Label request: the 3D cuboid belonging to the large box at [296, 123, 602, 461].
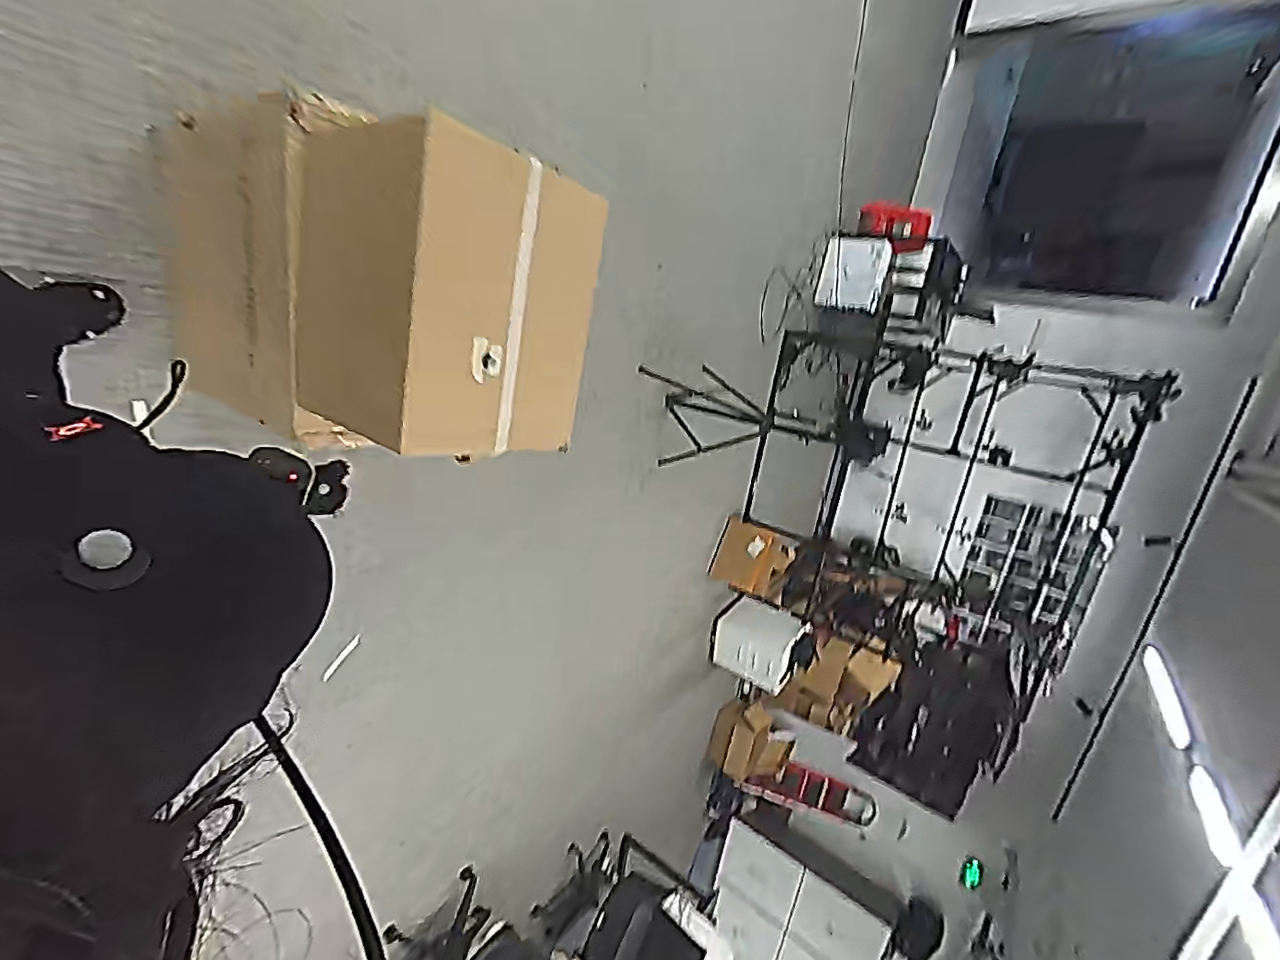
[{"bbox_3d":[-0.302,-0.270,0.846,0.320,0.320,0.408,-7,113,-53],"label":"large box"}]
